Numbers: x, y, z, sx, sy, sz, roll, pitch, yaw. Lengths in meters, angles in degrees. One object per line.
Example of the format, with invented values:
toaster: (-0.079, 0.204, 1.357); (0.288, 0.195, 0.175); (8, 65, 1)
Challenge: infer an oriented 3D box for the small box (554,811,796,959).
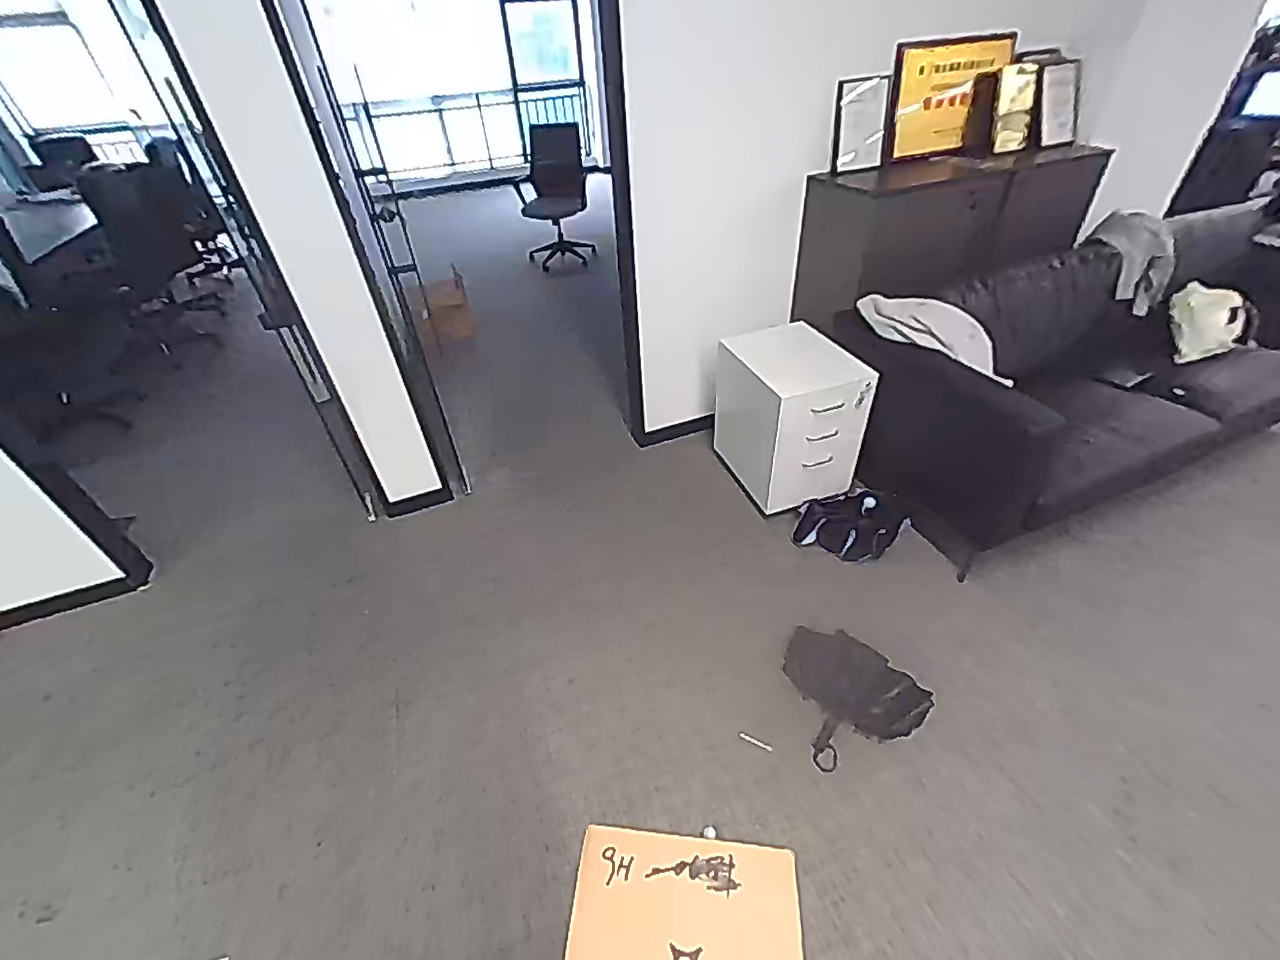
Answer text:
small box: (0.023, 0.387, 0.414); (0.168, 0.176, 0.179); (5, 42, 4)
